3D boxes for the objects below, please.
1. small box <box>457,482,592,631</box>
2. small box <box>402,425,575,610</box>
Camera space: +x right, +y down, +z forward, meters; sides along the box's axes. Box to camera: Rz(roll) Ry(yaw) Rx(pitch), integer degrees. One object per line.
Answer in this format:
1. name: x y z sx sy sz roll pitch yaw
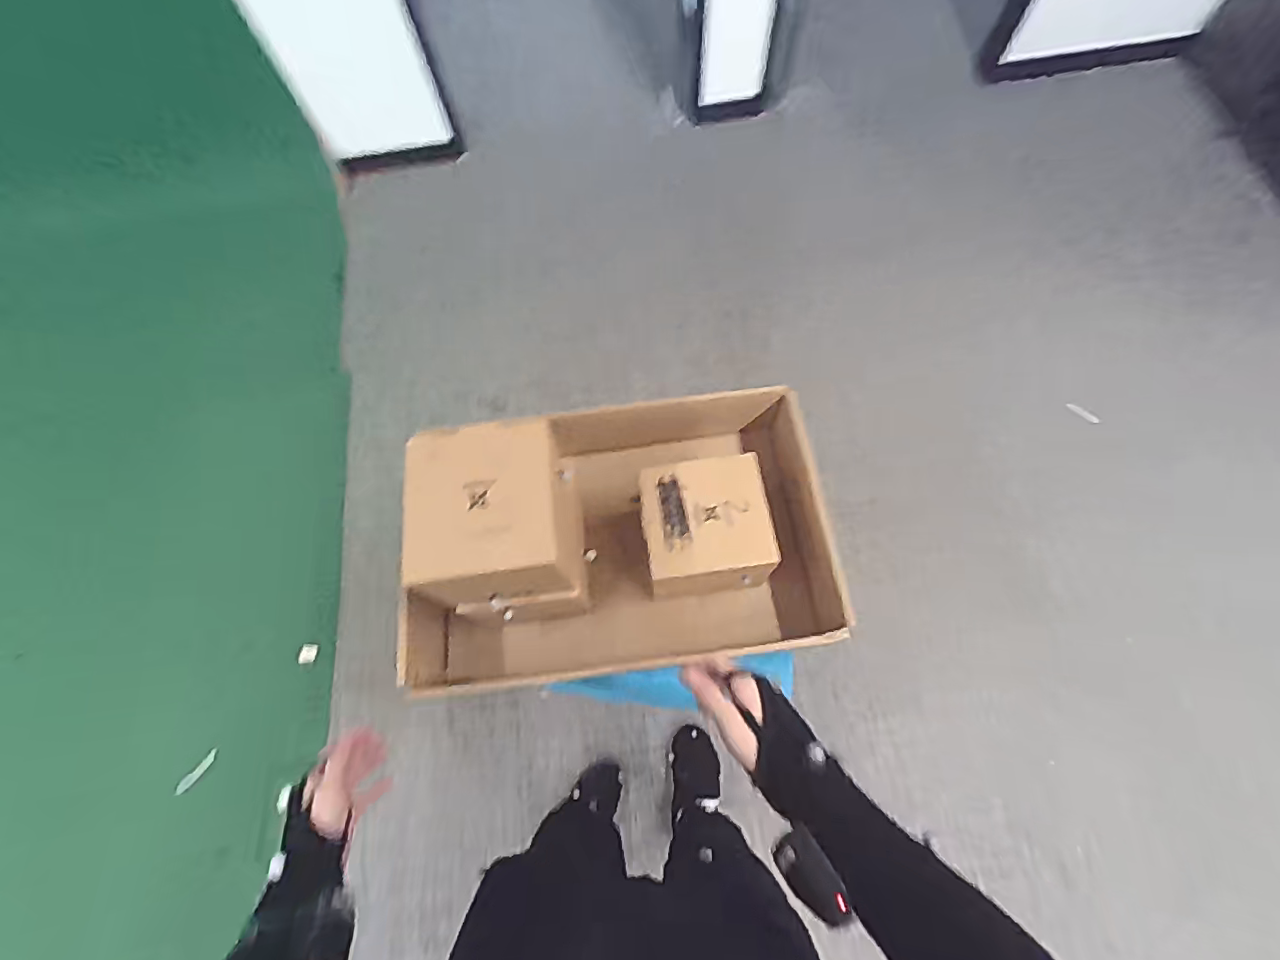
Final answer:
1. small box: -0.170 0.122 0.828 0.168 0.176 0.179 -8 66 0
2. small box: -0.179 0.054 0.679 0.168 0.176 0.179 -8 67 -1
